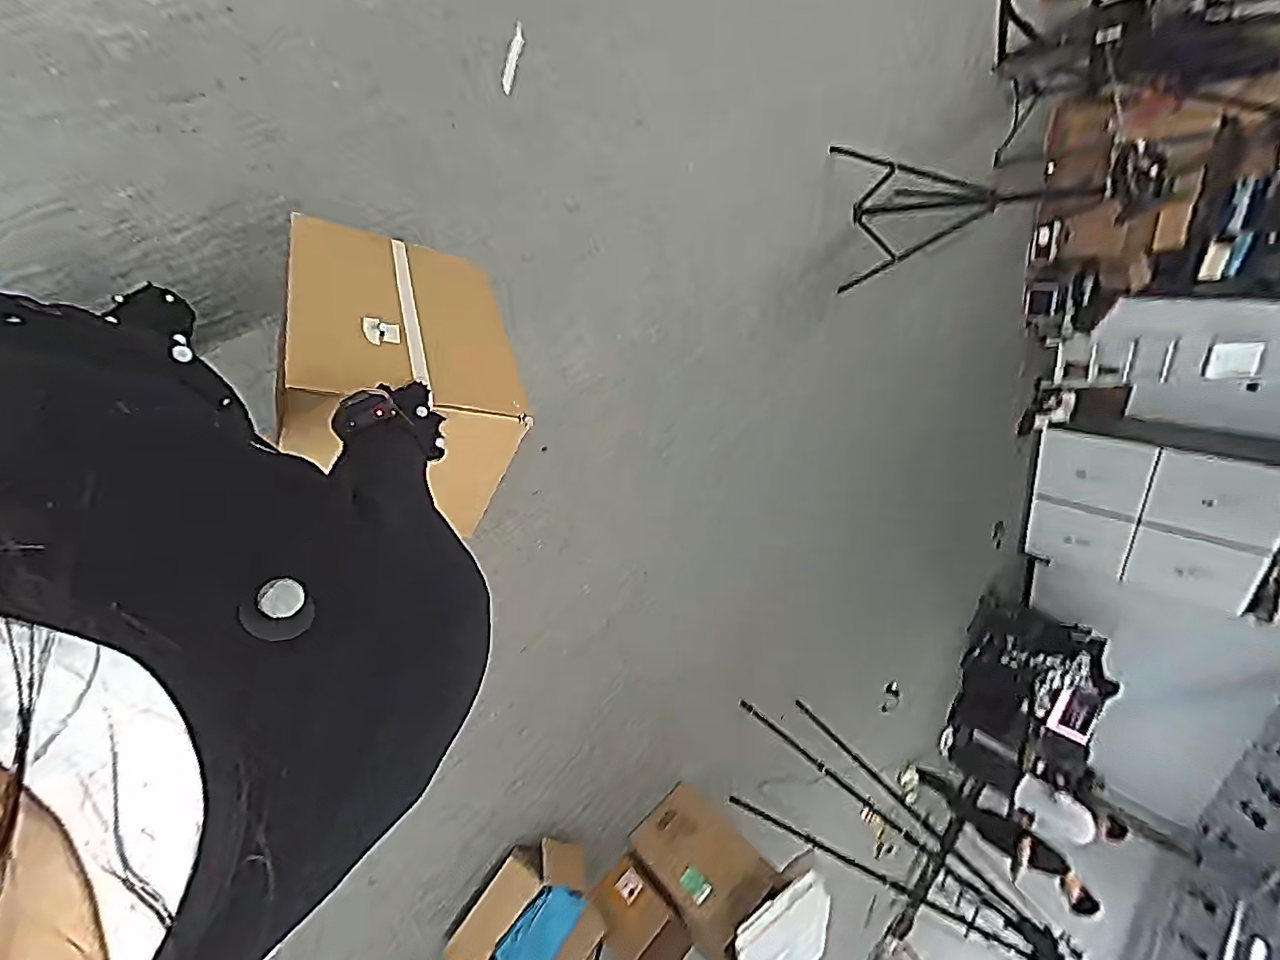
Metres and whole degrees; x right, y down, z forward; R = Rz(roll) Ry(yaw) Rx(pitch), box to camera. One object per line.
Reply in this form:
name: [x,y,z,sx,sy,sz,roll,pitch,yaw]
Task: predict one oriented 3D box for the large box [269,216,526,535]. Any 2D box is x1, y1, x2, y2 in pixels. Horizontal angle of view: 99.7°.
large box: [-0.435,-0.158,0.920,0.320,0.408,0.320,2,141,-35]
